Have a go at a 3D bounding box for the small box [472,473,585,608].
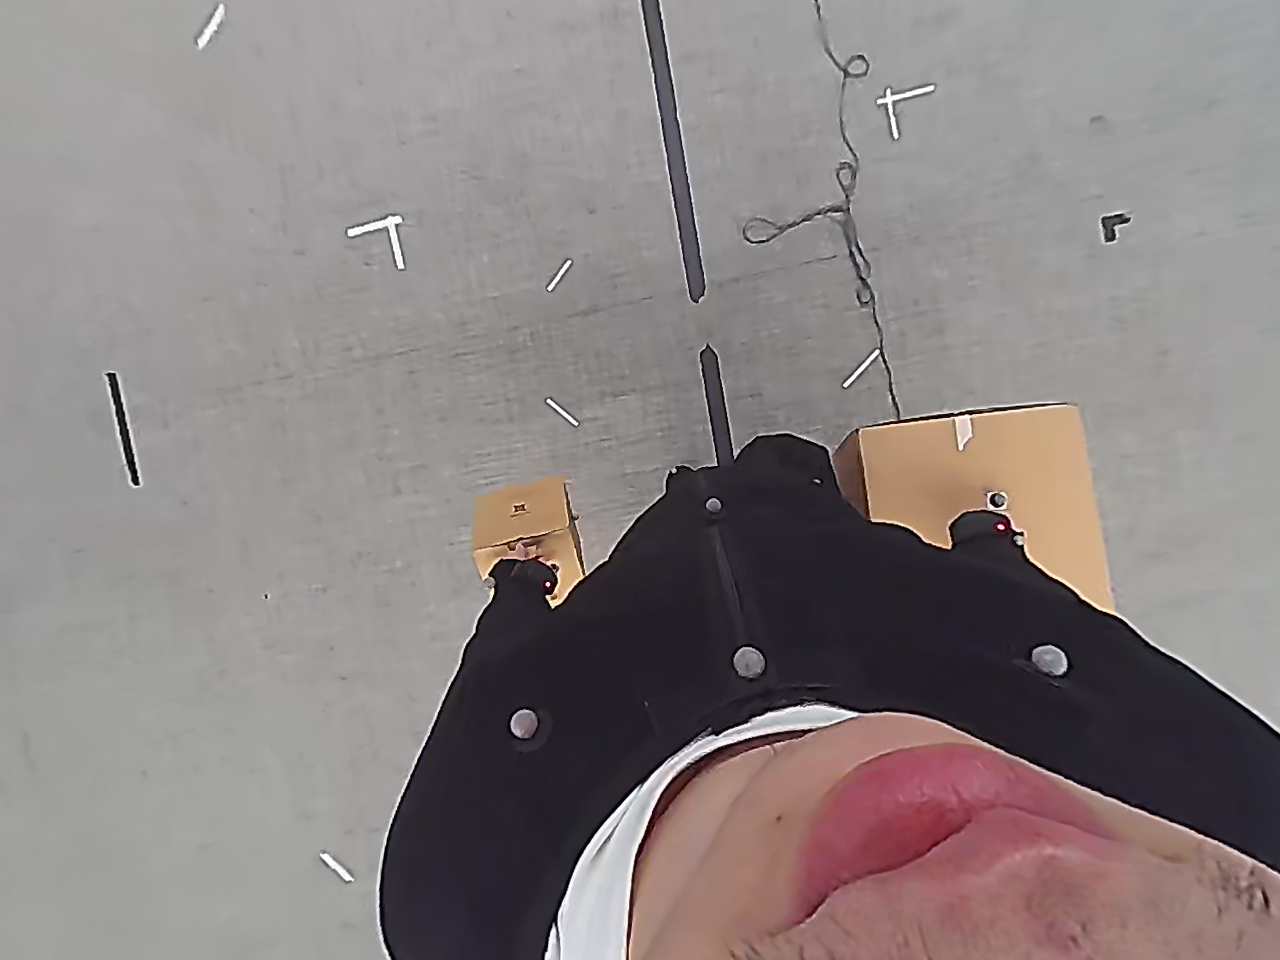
[{"bbox_3d":[-0.202,0.116,1.003,0.168,0.179,0.176,-12,124,-6],"label":"small box"}]
